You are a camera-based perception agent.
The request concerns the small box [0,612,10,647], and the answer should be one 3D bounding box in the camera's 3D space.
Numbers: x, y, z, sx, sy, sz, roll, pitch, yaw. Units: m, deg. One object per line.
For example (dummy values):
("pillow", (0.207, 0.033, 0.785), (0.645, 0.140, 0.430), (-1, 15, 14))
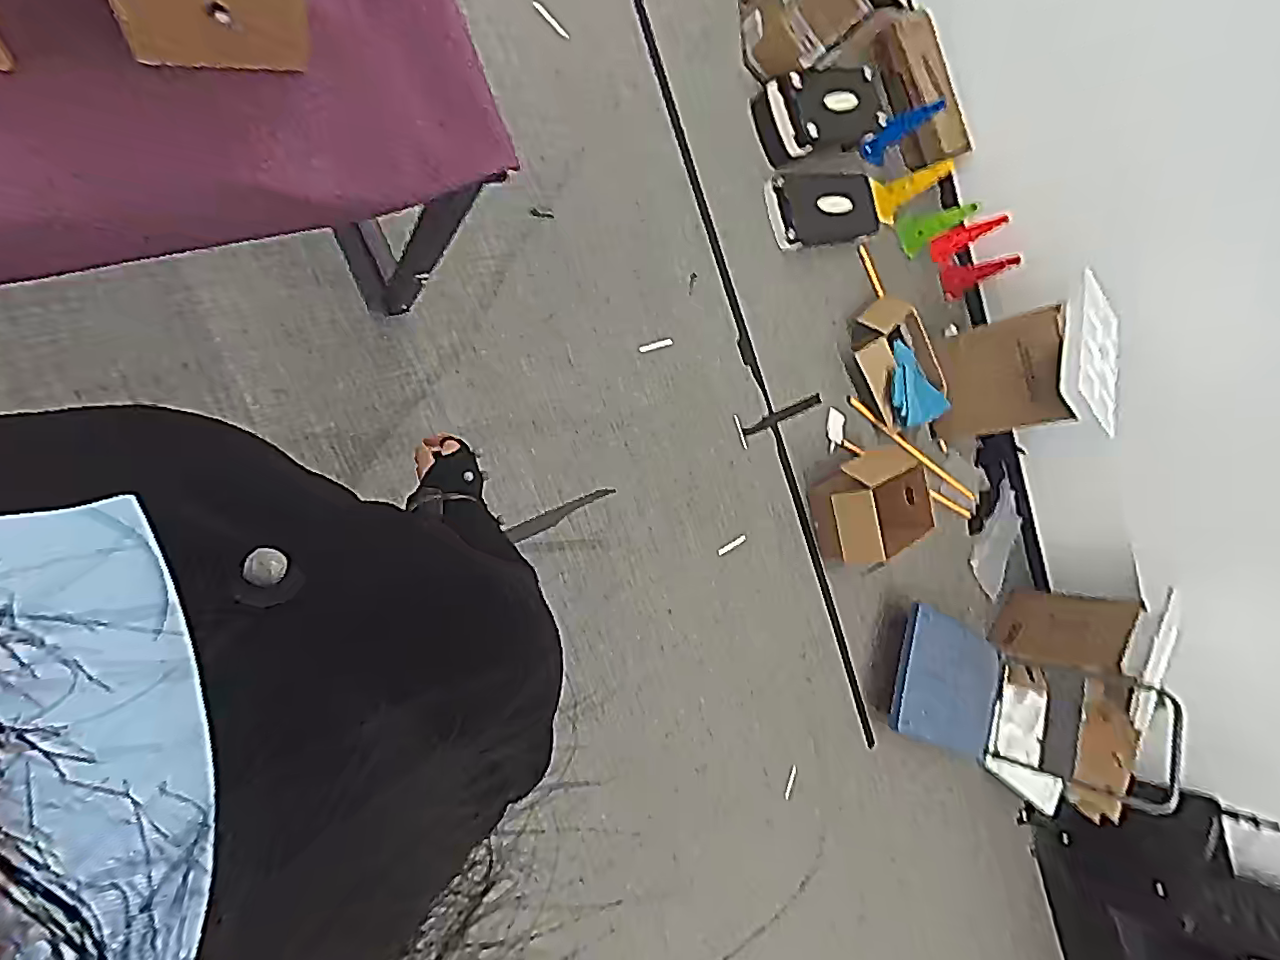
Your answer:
("small box", (-1.228, 0.244, 0.906), (0.168, 0.176, 0.179), (-19, 98, -34))
